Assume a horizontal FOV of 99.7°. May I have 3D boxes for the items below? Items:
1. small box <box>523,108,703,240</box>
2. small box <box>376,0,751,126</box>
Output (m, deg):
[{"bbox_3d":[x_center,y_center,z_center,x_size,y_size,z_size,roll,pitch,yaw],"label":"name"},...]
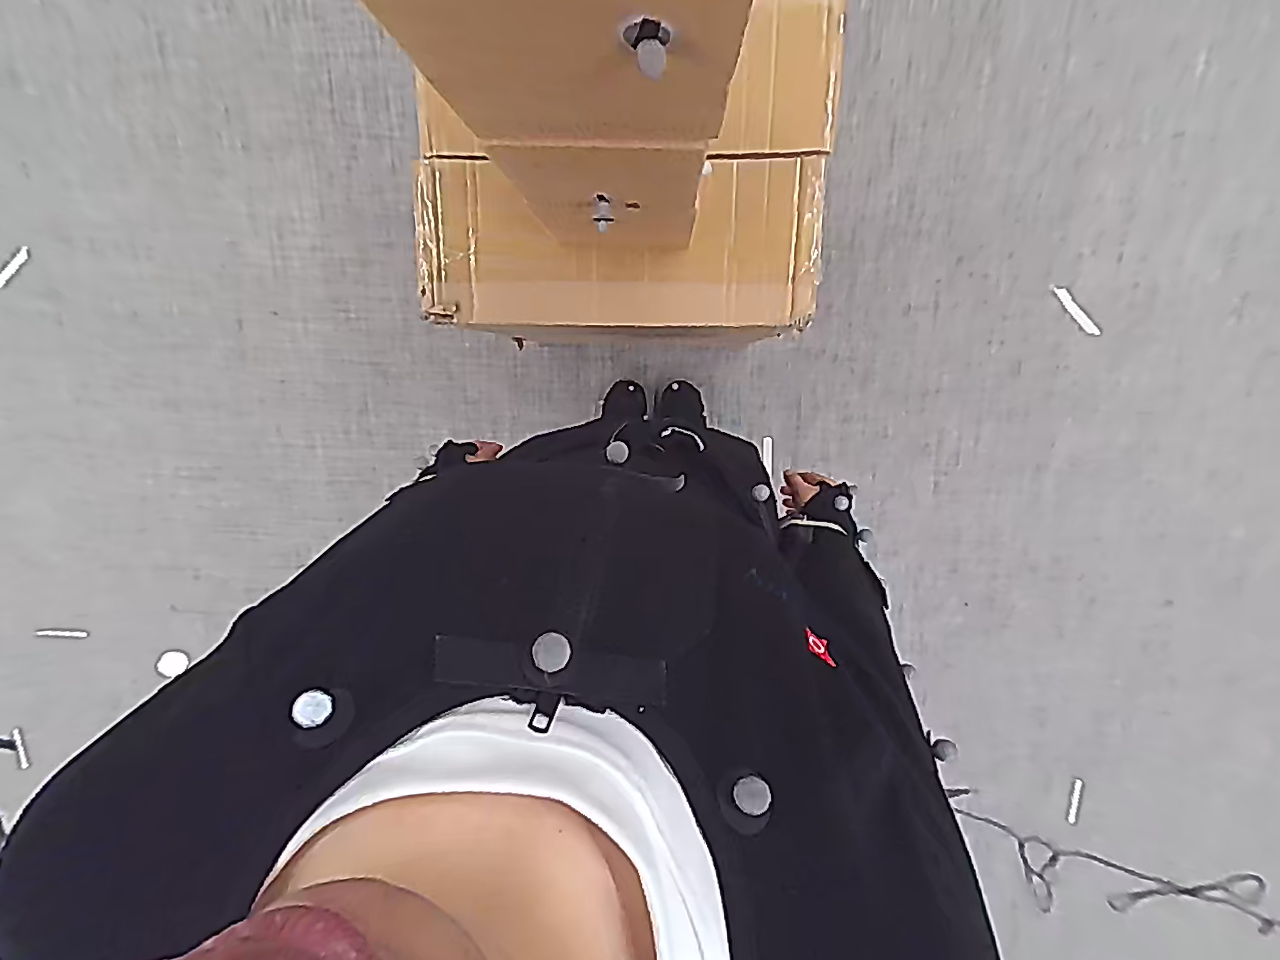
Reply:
[{"bbox_3d":[-0.022,-0.372,0.598,0.179,0.176,0.168,3,102,2],"label":"small box"},{"bbox_3d":[-0.032,-0.306,0.275,0.179,0.176,0.168,2,102,2],"label":"small box"}]
